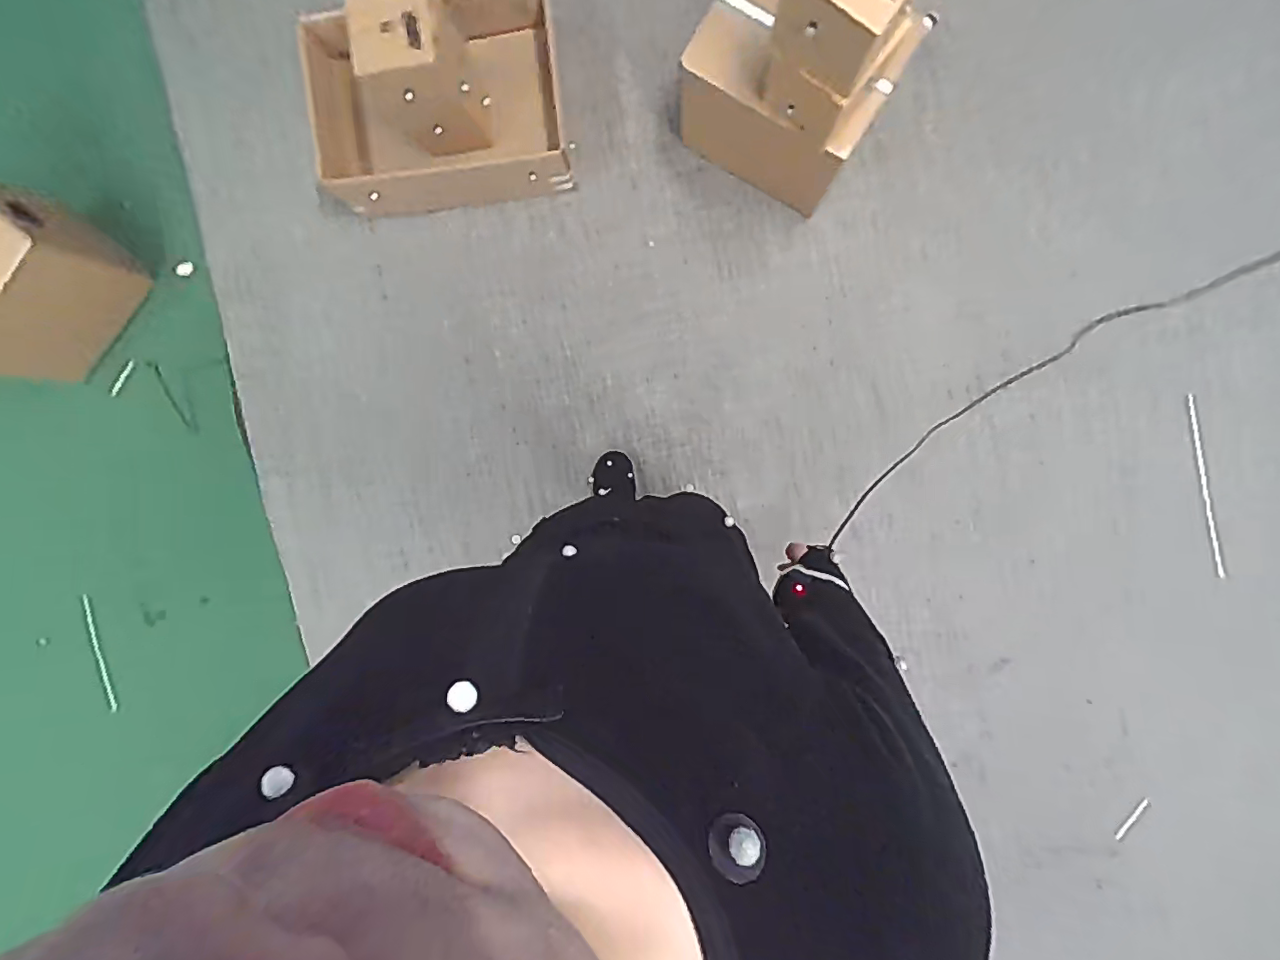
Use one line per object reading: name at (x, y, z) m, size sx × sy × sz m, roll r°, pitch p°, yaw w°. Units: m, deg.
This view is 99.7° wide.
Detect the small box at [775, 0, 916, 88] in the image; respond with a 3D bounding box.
small box at (0.335, -0.777, 0.855) m, size 0.179 × 0.176 × 0.168 m, roll 37°, pitch 100°, yaw 1°

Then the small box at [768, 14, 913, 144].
small box at (0.361, -0.789, 1.017) m, size 0.168 × 0.176 × 0.179 m, roll 40°, pitch 100°, yaw 0°

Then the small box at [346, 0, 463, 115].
small box at (-0.496, -0.927, 1.166) m, size 0.179 × 0.176 × 0.168 m, roll -4°, pitch 95°, yaw 7°

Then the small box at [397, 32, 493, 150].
small box at (-0.482, -0.944, 1.328) m, size 0.179 × 0.176 × 0.168 m, roll -6°, pitch 95°, yaw 5°
